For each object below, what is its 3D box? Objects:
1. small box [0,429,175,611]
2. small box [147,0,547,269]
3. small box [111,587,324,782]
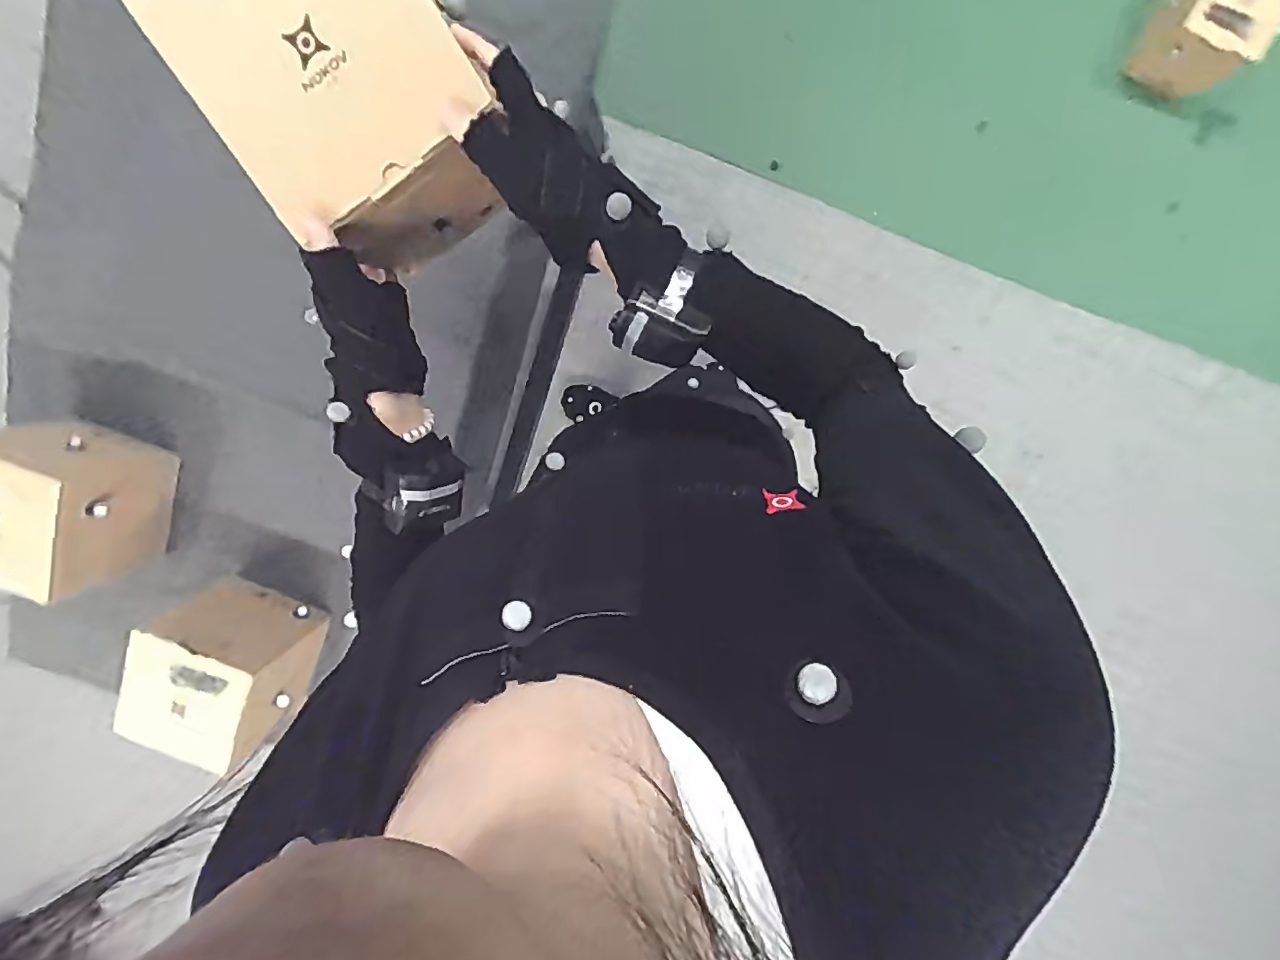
[{"bbox_3d":[-0.793,0.042,0.740,0.168,0.176,0.179,20,104,-2],"label":"small box"},{"bbox_3d":[-0.195,-0.289,0.420,0.168,0.176,0.179,-30,103,8],"label":"small box"},{"bbox_3d":[-0.599,0.284,0.788,0.168,0.176,0.179,23,104,-2],"label":"small box"}]
